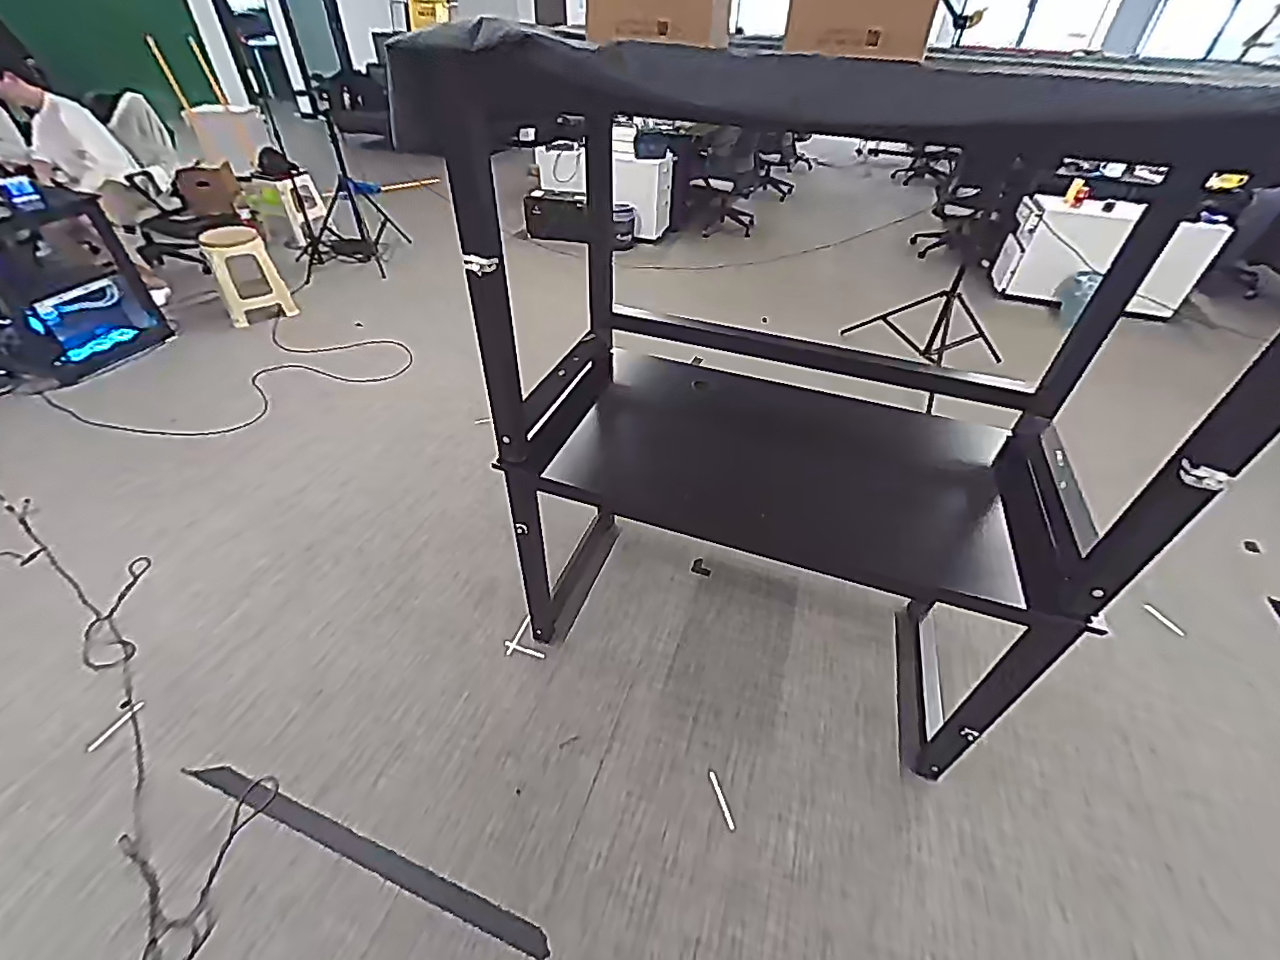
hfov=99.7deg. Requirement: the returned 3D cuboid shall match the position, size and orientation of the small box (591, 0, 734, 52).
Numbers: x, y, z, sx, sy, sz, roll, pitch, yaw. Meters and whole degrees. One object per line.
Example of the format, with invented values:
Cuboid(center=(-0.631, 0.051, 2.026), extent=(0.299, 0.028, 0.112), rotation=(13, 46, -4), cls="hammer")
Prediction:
Cuboid(center=(0.036, -0.672, 0.707), extent=(0.168, 0.176, 0.179), rotation=(12, 41, 10), cls="small box")
